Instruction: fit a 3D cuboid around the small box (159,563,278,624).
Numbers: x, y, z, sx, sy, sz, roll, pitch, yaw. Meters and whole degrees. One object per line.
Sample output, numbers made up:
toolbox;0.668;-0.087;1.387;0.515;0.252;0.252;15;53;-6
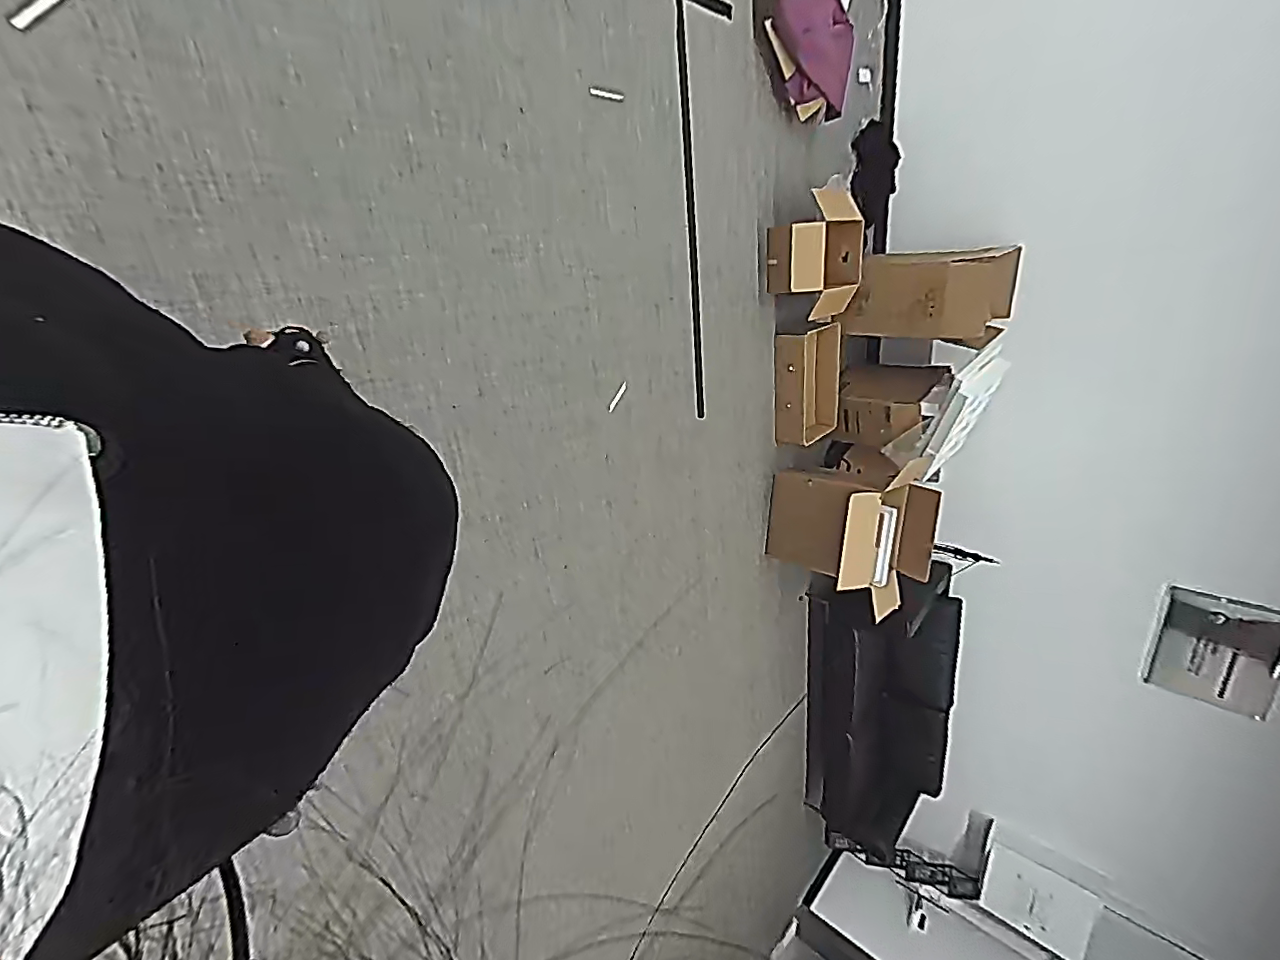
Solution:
small box;-0.813;0.253;1.075;0.179;0.176;0.168;-30;121;-39

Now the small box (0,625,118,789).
small box;-1.009;0.357;0.887;0.168;0.176;0.179;-30;121;-40
